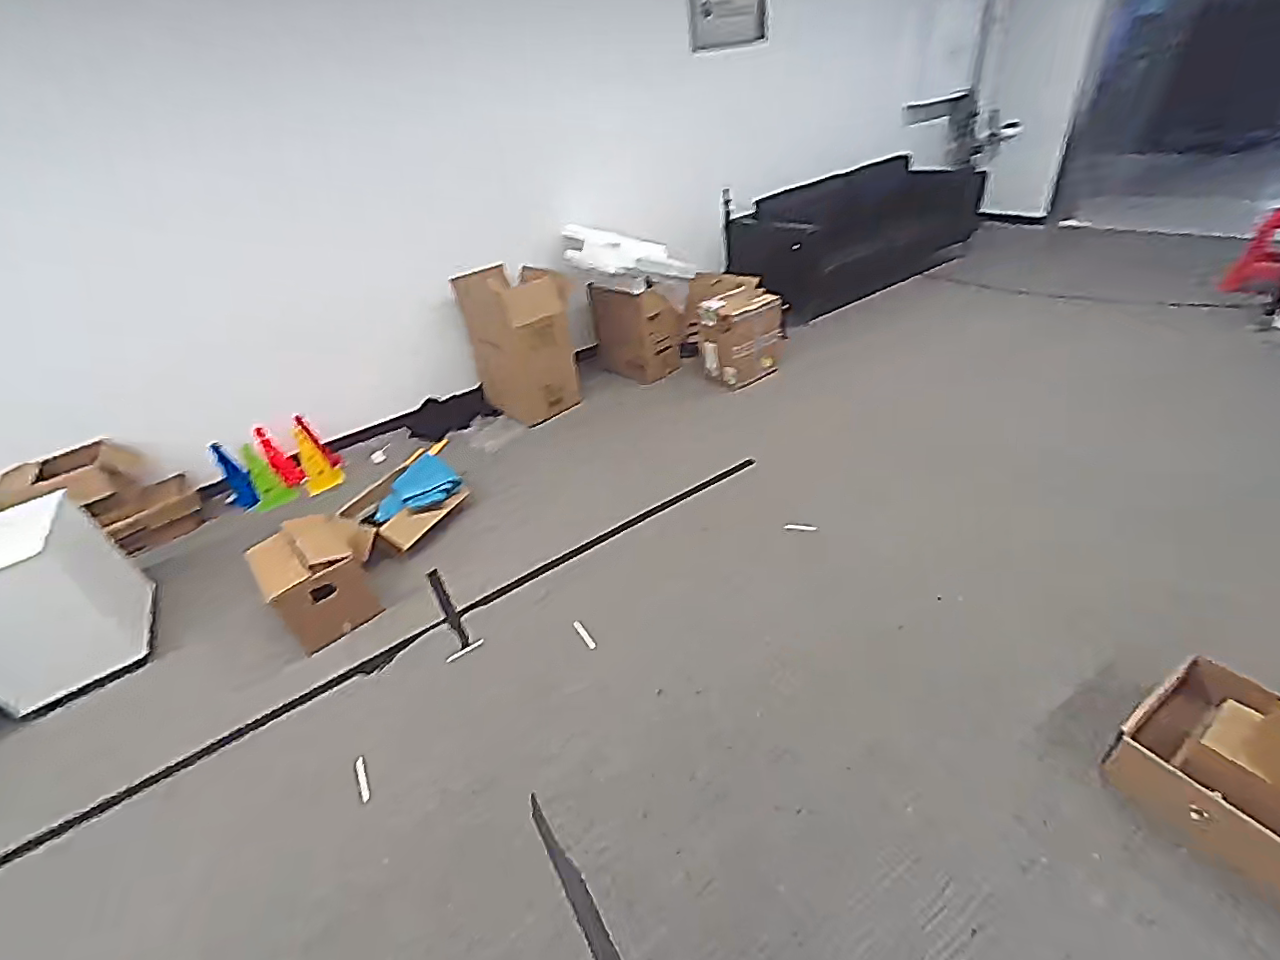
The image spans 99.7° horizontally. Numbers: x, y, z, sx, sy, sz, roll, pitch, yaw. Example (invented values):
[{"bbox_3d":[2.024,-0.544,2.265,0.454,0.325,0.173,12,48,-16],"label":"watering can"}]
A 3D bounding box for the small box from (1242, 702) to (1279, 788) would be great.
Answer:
[{"bbox_3d":[1.417,0.572,1.095,0.168,0.176,0.179,-4,33,3],"label":"small box"}]

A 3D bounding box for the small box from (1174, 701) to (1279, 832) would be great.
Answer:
[{"bbox_3d":[1.402,0.662,1.254,0.179,0.176,0.168,-27,39,-24],"label":"small box"}]
